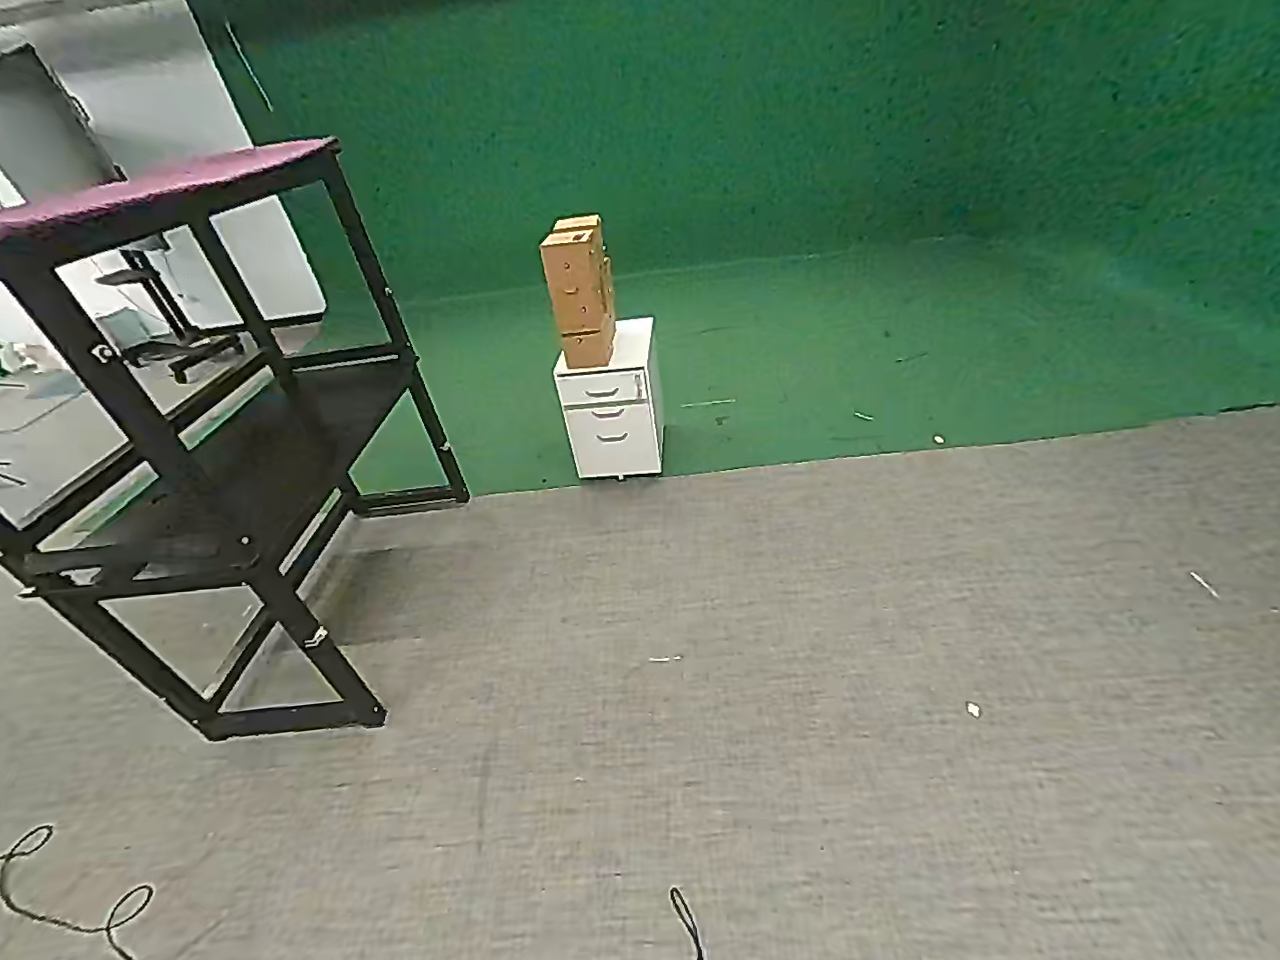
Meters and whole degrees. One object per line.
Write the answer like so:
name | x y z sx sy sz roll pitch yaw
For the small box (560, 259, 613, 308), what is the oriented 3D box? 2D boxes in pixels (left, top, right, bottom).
small box | -0.226 -0.839 2.328 0.179 0.176 0.168 -1 37 9

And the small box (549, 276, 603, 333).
small box | -0.246 -0.687 2.129 0.168 0.176 0.179 -3 36 6

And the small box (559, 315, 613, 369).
small box | -0.218 -0.570 2.238 0.179 0.176 0.168 -2 37 9
